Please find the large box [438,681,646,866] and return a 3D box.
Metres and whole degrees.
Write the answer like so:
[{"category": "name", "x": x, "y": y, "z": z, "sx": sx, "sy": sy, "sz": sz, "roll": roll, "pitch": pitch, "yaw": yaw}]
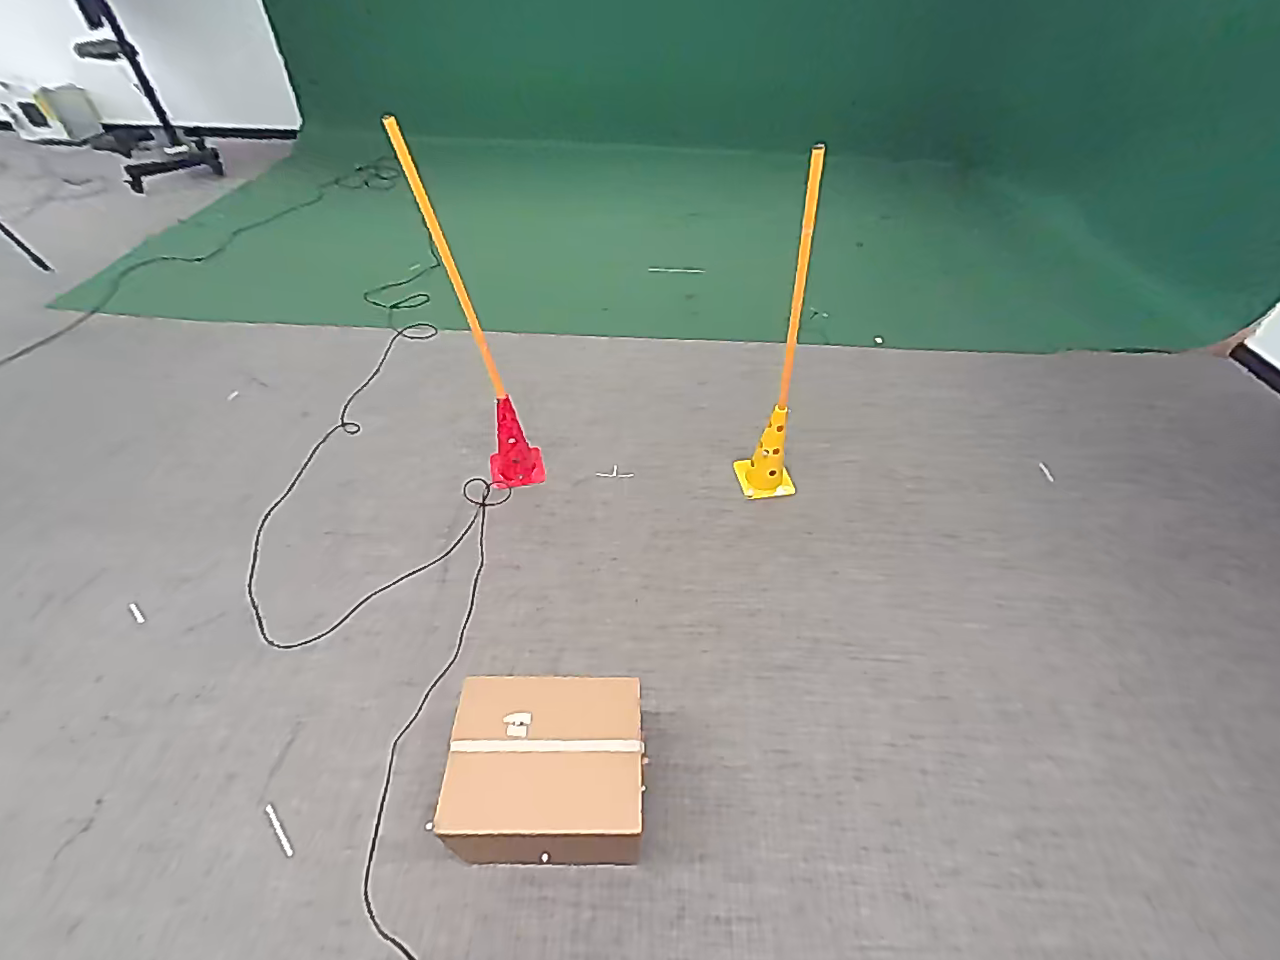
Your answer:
[{"category": "large box", "x": -0.194, "y": 0.680, "z": 1.248, "sx": 0.408, "sy": 0.320, "sz": 0.320, "roll": 0, "pitch": 45, "yaw": -1}]
